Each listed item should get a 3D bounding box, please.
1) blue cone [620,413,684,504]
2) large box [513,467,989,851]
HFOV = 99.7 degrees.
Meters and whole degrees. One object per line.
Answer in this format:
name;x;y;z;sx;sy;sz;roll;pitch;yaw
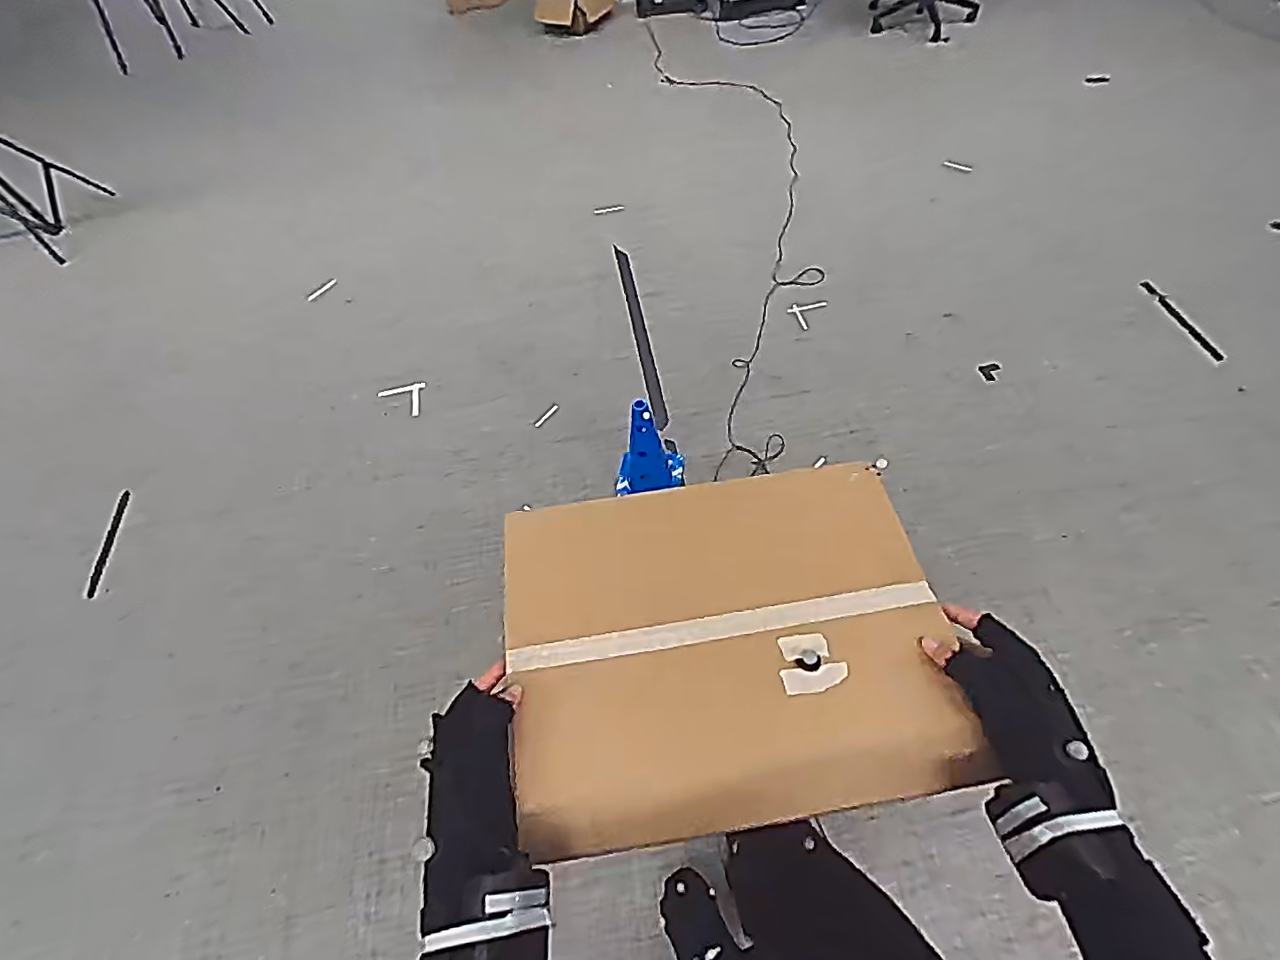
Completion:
blue cone;0.022;-0.073;1.582;0.193;0.380;0.192;6;59;11
large box;0.083;0.222;0.648;0.408;0.320;0.320;-8;58;-2
